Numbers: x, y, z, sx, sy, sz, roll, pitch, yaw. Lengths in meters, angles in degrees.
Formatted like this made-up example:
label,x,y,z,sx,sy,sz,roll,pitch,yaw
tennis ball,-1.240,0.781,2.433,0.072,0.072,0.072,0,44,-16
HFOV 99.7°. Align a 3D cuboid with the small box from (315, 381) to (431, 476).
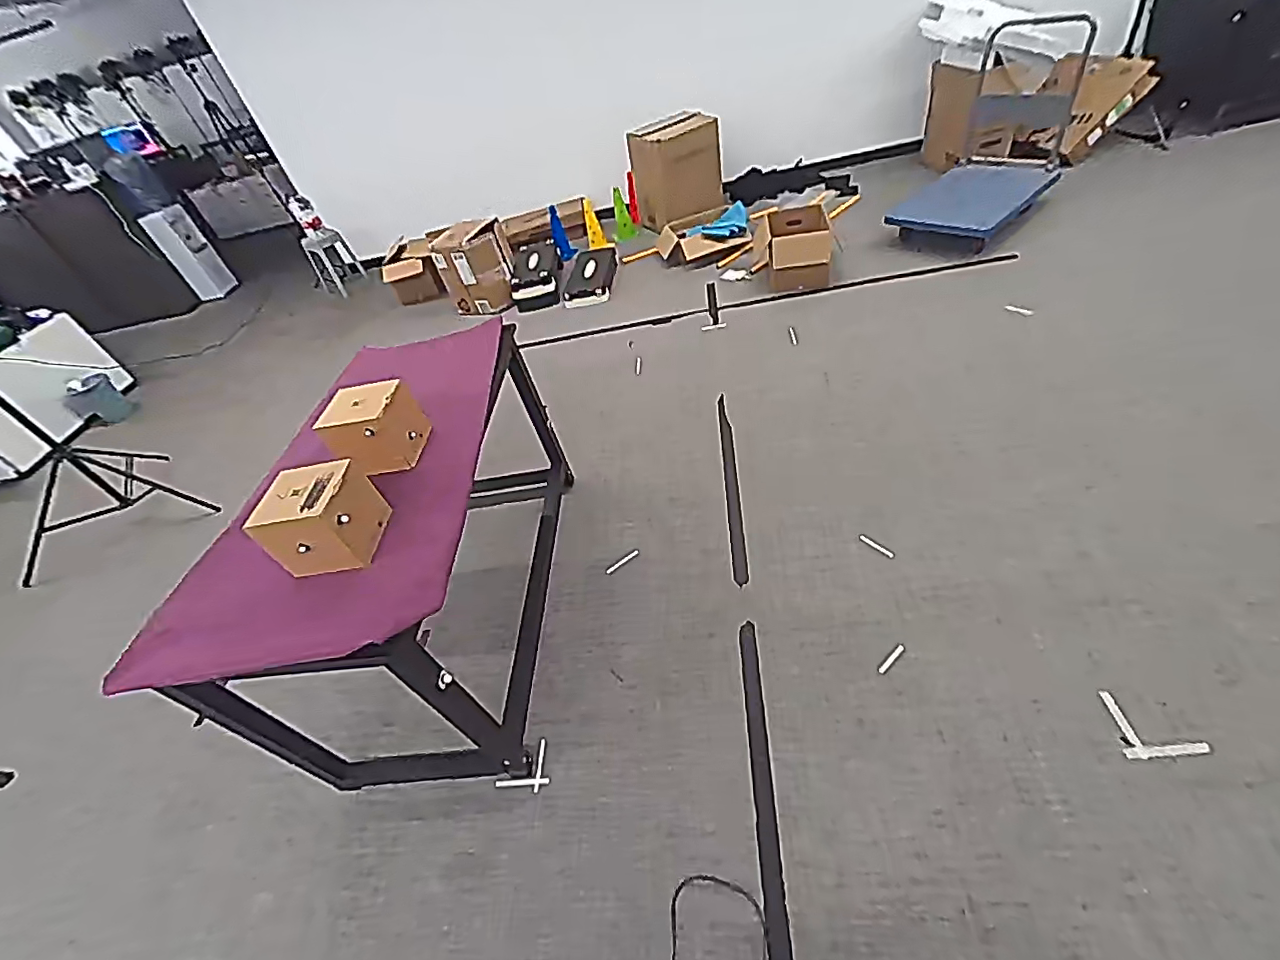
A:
label,x,y,z,sx,sy,sz,roll,pitch,yaw
small box,-0.670,-0.126,1.379,0.179,0.176,0.168,-8,44,9
